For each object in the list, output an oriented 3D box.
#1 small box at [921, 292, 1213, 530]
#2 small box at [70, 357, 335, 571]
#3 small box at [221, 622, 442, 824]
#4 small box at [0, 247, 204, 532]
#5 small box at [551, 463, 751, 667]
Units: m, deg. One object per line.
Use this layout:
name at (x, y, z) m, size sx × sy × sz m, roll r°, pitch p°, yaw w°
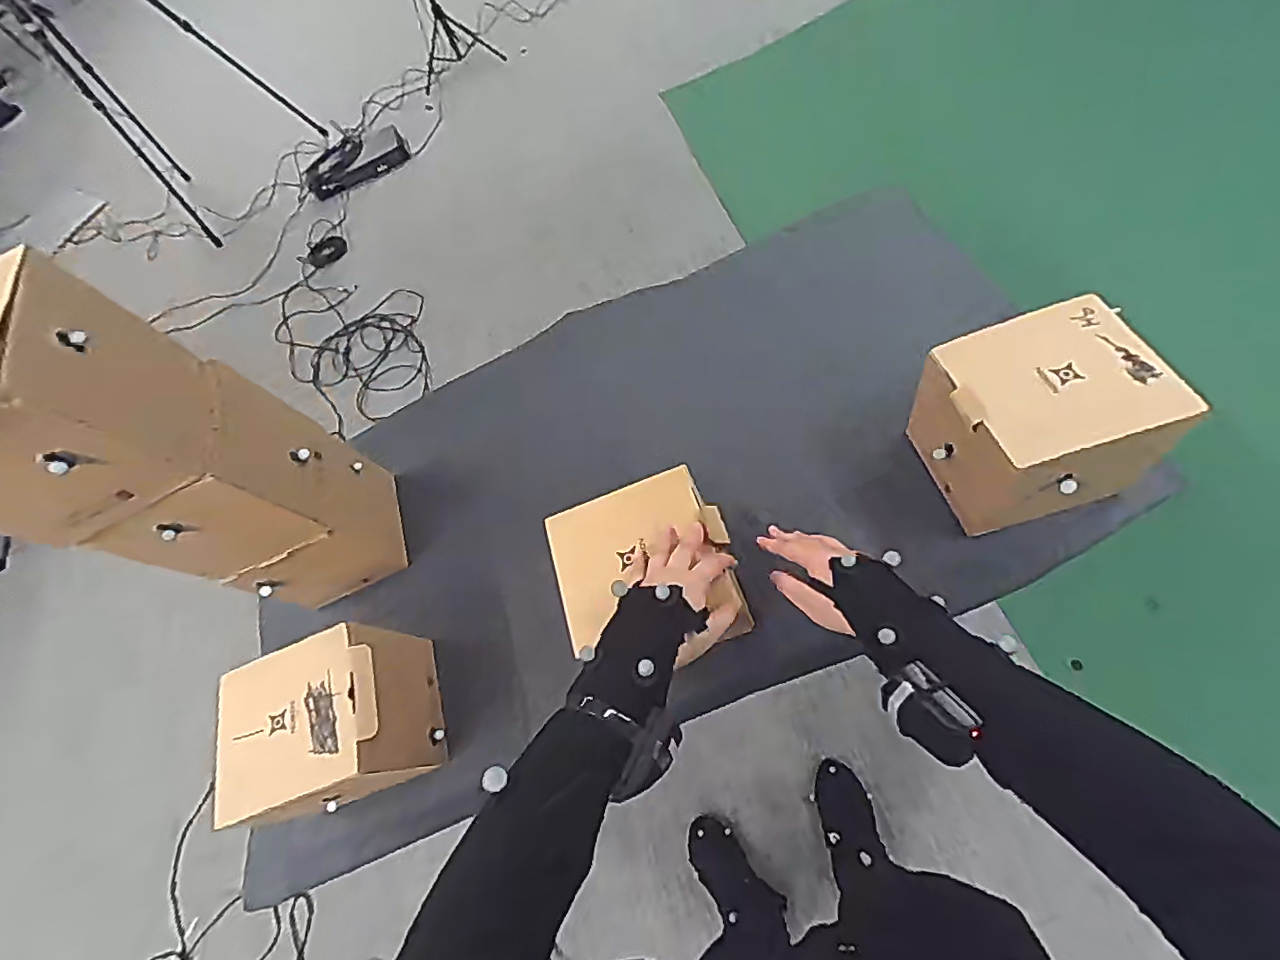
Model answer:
small box at (0.434, -0.064, 0.596) m, size 0.179 × 0.176 × 0.168 m, roll -19°, pitch 59°, yaw 8°
small box at (-0.506, -0.008, 0.649) m, size 0.179 × 0.176 × 0.168 m, roll -23°, pitch 64°, yaw 4°
small box at (-0.364, 0.291, 0.665) m, size 0.179 × 0.176 × 0.168 m, roll -23°, pitch 63°, yaw 5°
small box at (-0.551, -0.068, 0.505) m, size 0.168 × 0.176 × 0.179 m, roll -27°, pitch 62°, yaw 1°
small box at (0.019, 0.112, 0.642) m, size 0.179 × 0.176 × 0.168 m, roll -21°, pitch 62°, yaw 6°
